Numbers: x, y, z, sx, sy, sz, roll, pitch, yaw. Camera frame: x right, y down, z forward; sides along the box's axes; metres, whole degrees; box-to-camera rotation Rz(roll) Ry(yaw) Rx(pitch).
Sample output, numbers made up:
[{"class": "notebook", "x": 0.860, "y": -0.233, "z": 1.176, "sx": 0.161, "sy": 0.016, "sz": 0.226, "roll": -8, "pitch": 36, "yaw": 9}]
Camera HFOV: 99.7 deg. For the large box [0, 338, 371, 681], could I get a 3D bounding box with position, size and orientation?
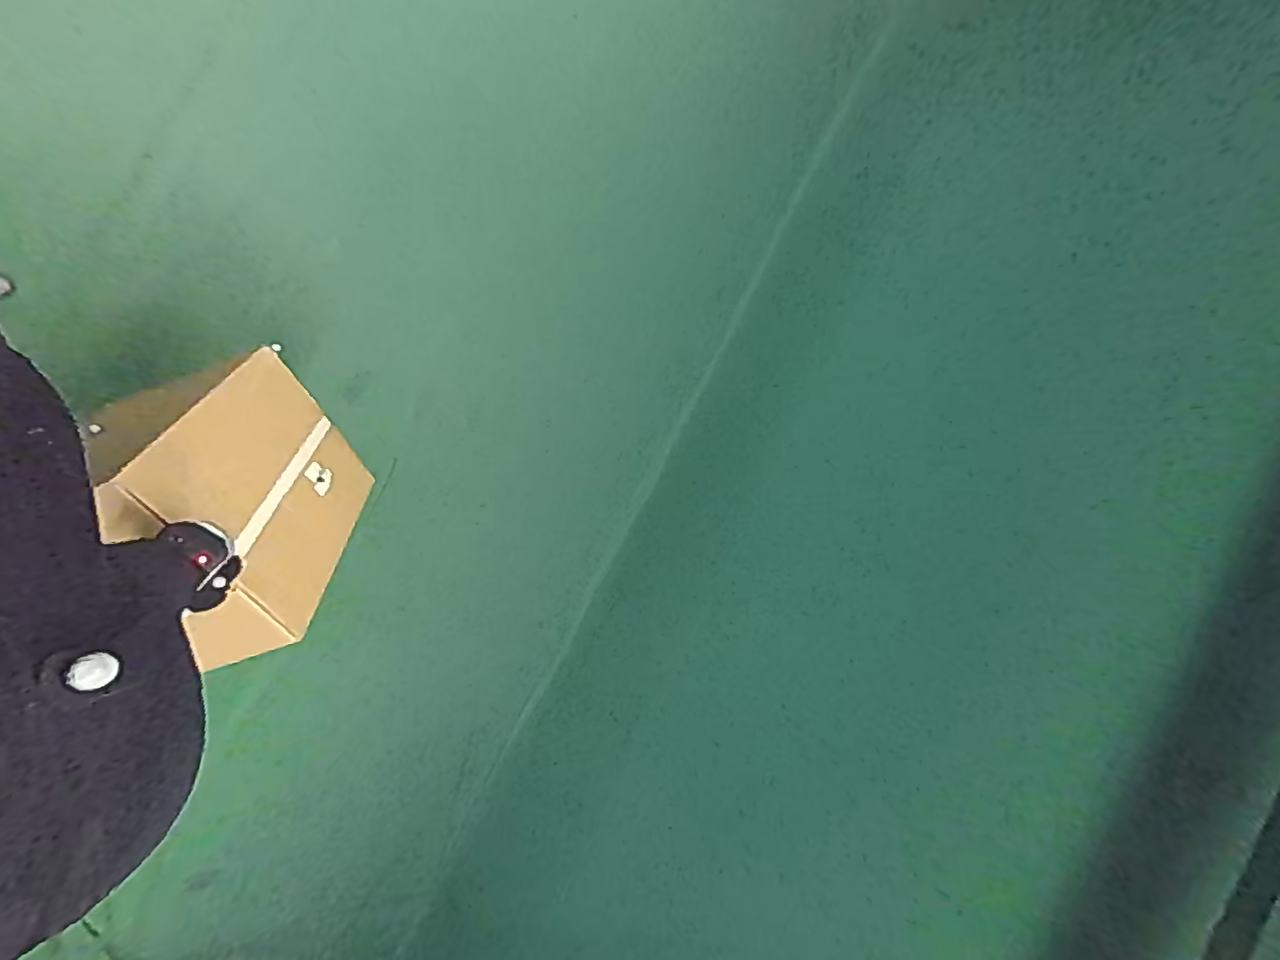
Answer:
[{"class": "large box", "x": -0.707, "y": 0.034, "z": 0.869, "sx": 0.320, "sy": 0.408, "sz": 0.320, "roll": -19, "pitch": 126, "yaw": 4}]
